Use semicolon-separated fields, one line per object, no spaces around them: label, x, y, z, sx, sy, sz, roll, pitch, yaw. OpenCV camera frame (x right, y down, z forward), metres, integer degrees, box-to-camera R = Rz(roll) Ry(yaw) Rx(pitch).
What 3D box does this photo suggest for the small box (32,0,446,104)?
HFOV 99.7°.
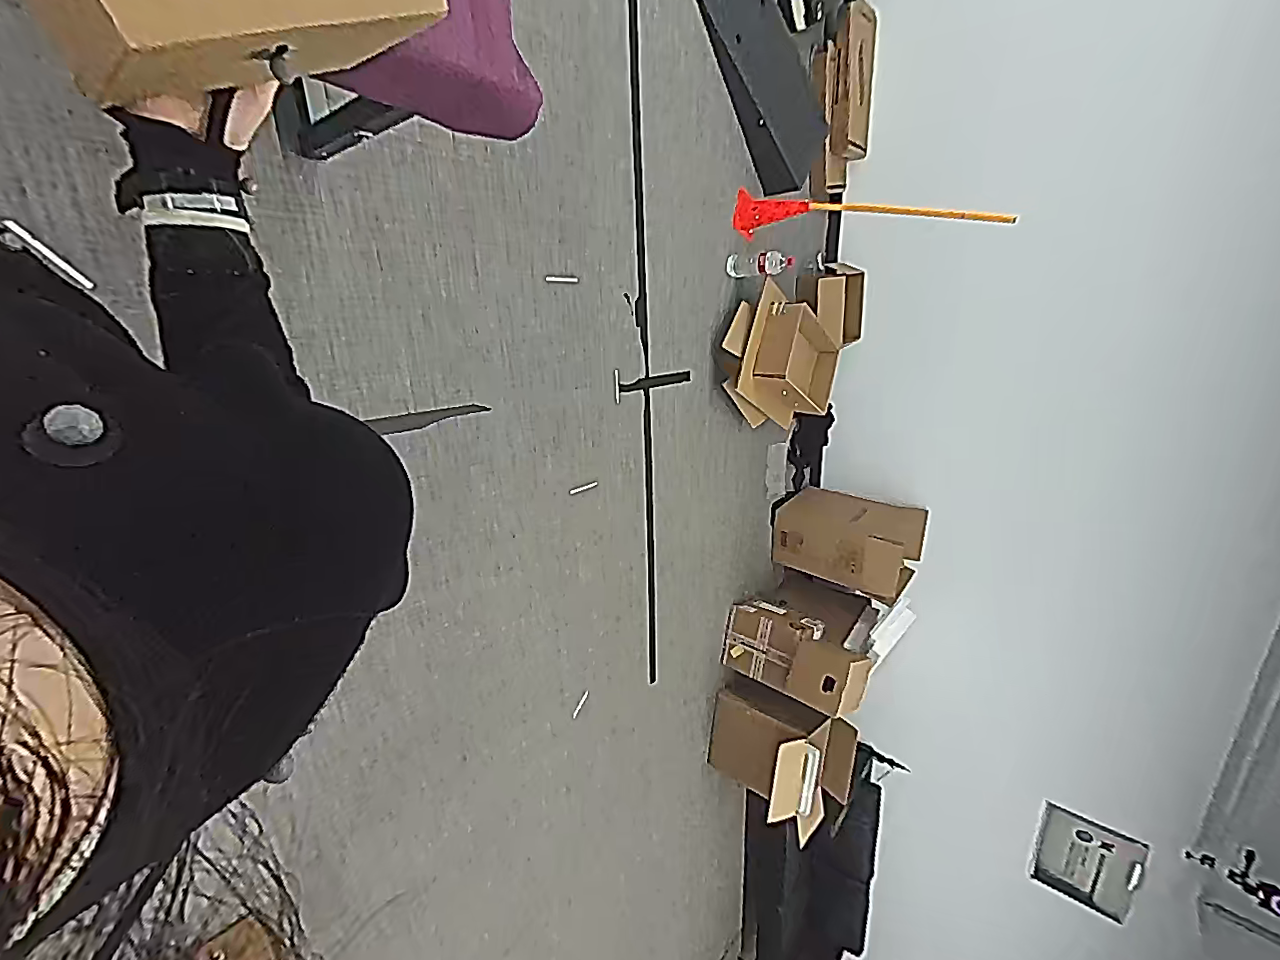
small box;-0.249;-0.326;0.294;0.179;0.176;0.168;-41;134;-32
